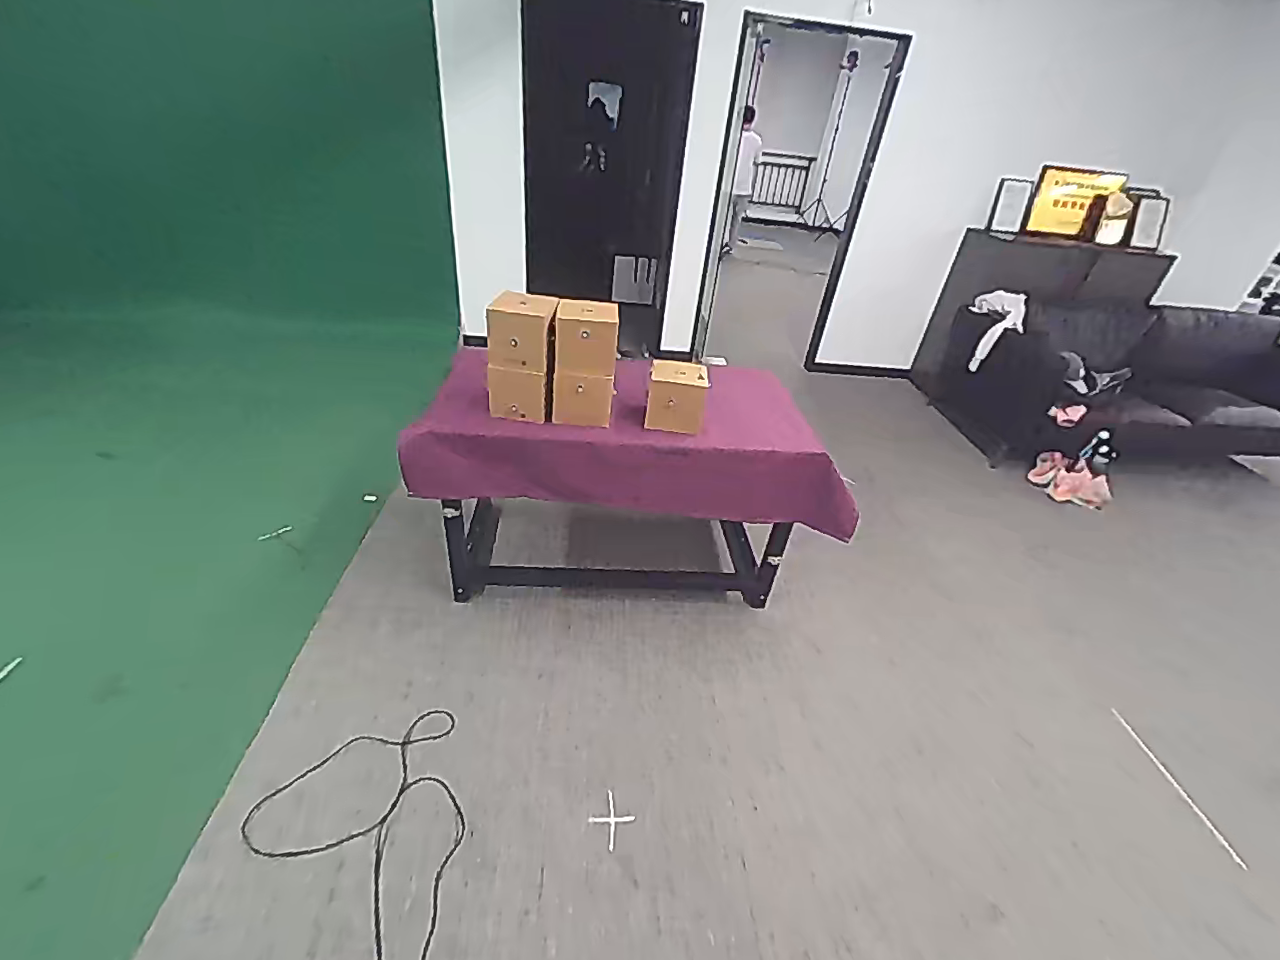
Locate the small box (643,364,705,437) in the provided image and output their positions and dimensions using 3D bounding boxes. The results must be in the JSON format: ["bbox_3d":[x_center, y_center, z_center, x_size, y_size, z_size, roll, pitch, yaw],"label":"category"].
[{"bbox_3d":[0.105,-0.248,1.705,0.179,0.176,0.168,7,34,0],"label":"small box"}]
